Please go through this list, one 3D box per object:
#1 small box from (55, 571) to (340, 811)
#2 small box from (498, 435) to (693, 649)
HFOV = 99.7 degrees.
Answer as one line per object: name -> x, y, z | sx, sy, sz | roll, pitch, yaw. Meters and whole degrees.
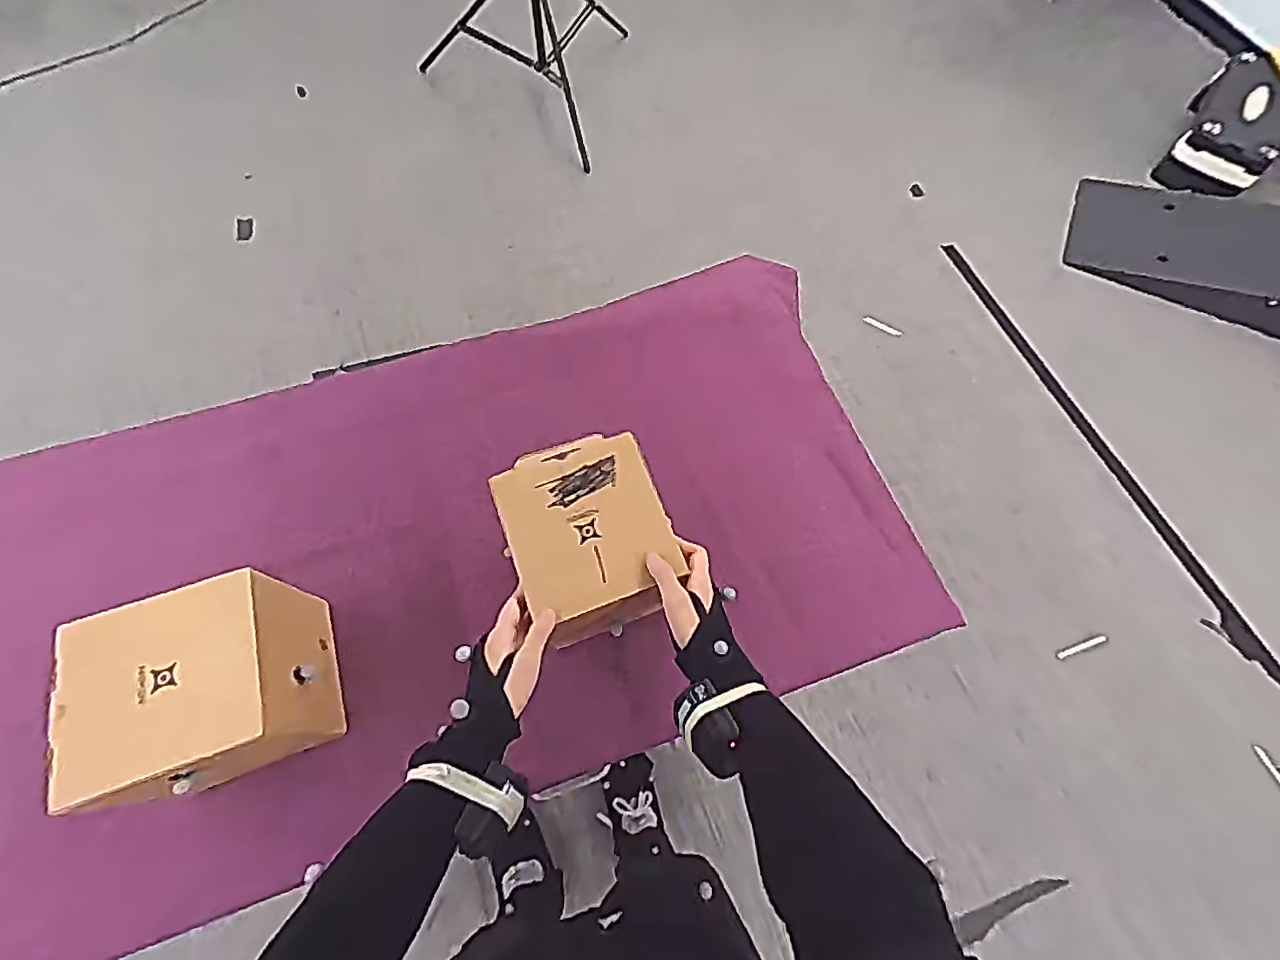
small box -> -0.445, 0.216, 0.573 | 0.179, 0.176, 0.168 | -19, 68, -9
small box -> -0.052, 0.080, 0.643 | 0.168, 0.176, 0.179 | -20, 66, -10
